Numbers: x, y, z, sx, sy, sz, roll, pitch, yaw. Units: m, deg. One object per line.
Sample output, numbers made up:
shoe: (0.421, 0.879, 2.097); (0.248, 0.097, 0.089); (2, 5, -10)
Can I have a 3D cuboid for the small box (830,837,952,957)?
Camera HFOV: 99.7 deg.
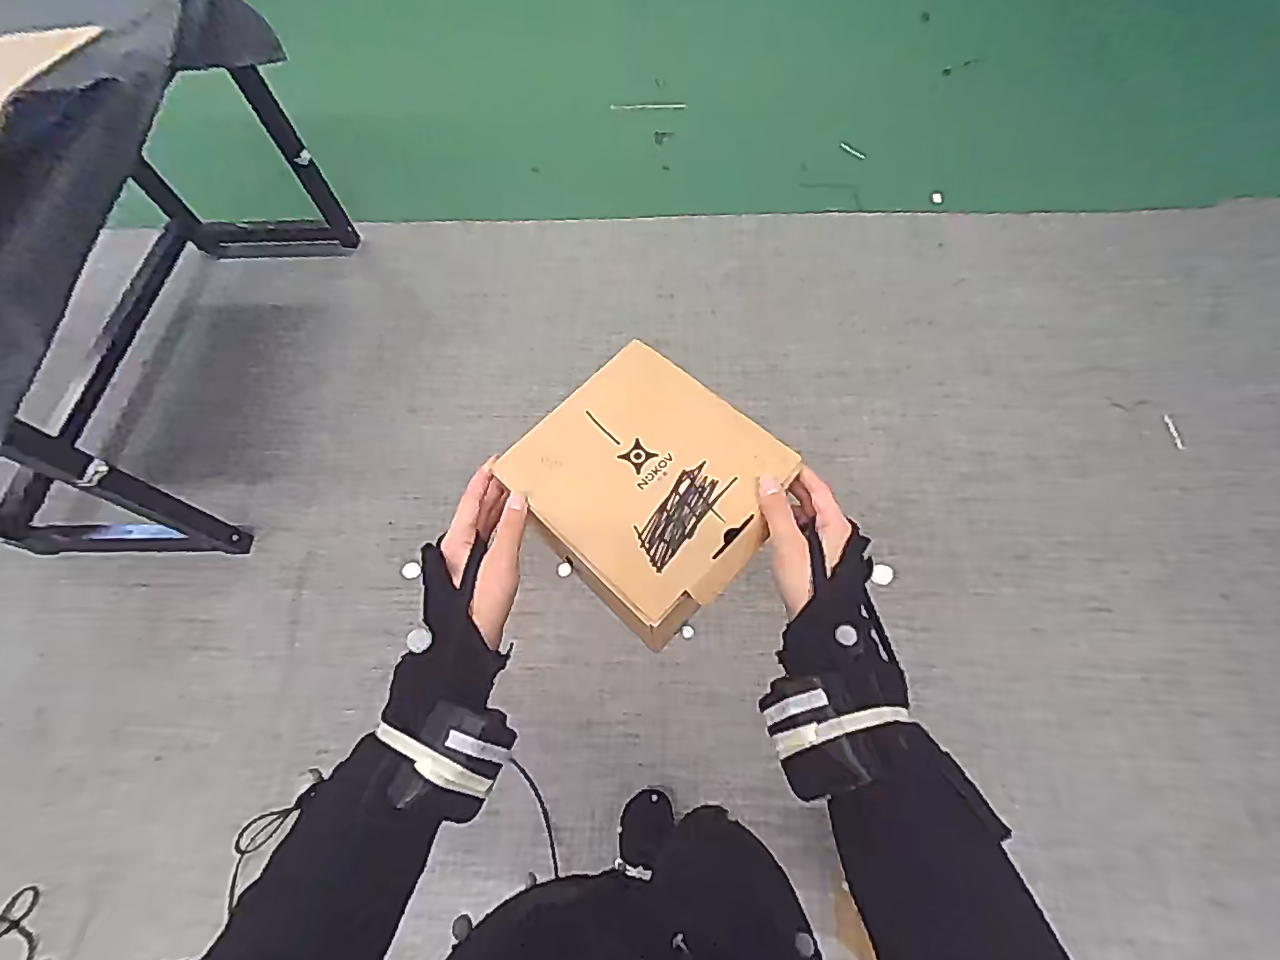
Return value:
small box: (0.452, 0.762, 0.976); (0.168, 0.176, 0.179); (3, 63, 4)
